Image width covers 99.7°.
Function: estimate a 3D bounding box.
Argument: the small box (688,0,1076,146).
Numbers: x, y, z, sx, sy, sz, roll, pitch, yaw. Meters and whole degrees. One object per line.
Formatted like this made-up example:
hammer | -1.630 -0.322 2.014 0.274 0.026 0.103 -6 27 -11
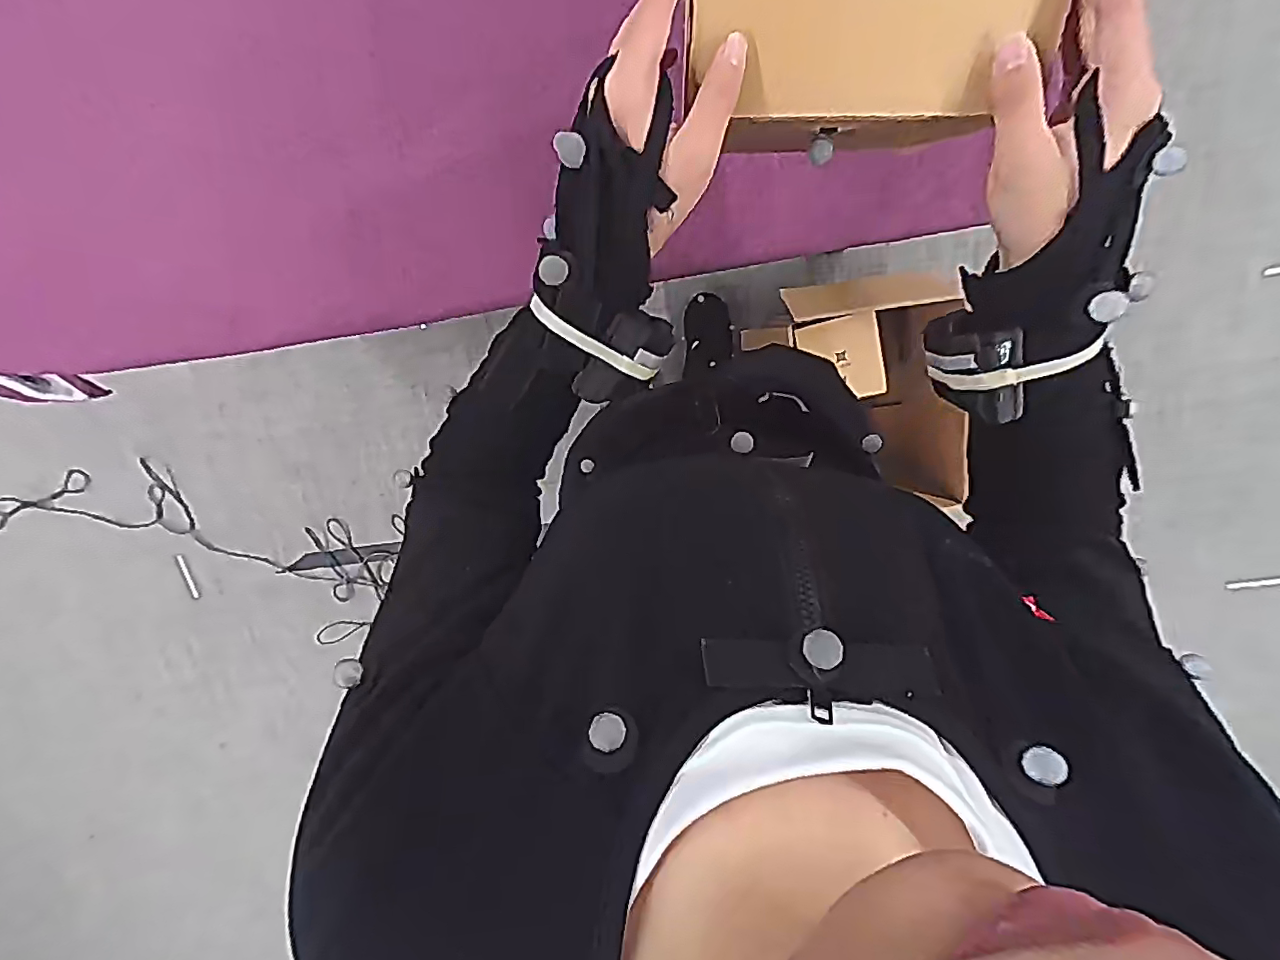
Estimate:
small box | 0.119 -0.294 0.305 0.179 0.176 0.168 2 117 4
